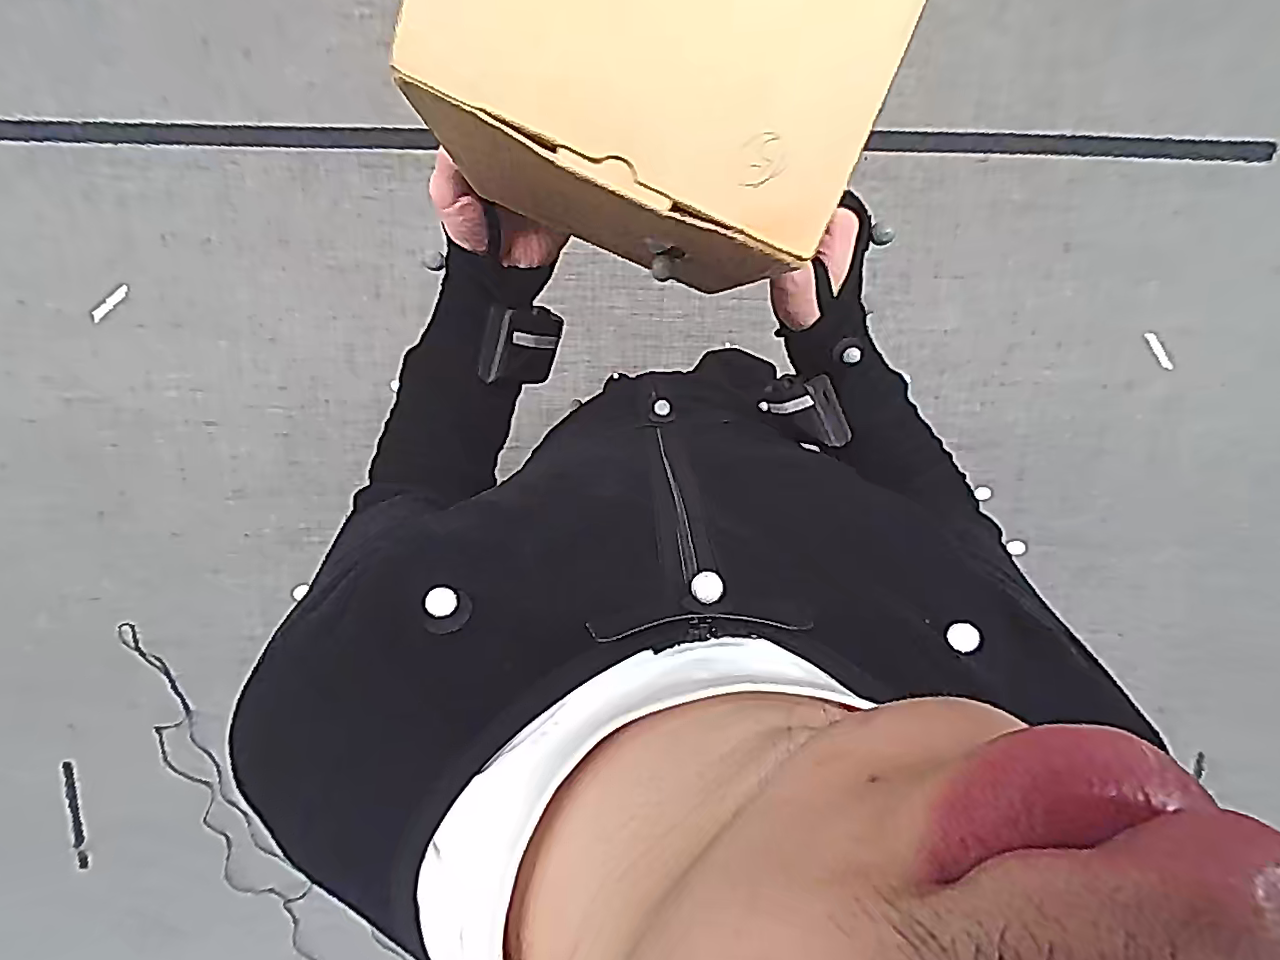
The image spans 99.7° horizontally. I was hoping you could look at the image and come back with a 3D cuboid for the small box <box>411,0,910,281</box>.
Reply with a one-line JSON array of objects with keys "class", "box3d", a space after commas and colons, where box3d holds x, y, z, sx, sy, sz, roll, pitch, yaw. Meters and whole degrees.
[{"class": "small box", "box3d": [0.012, -0.214, 0.268, 0.168, 0.176, 0.179, 18, 102, -12]}]
